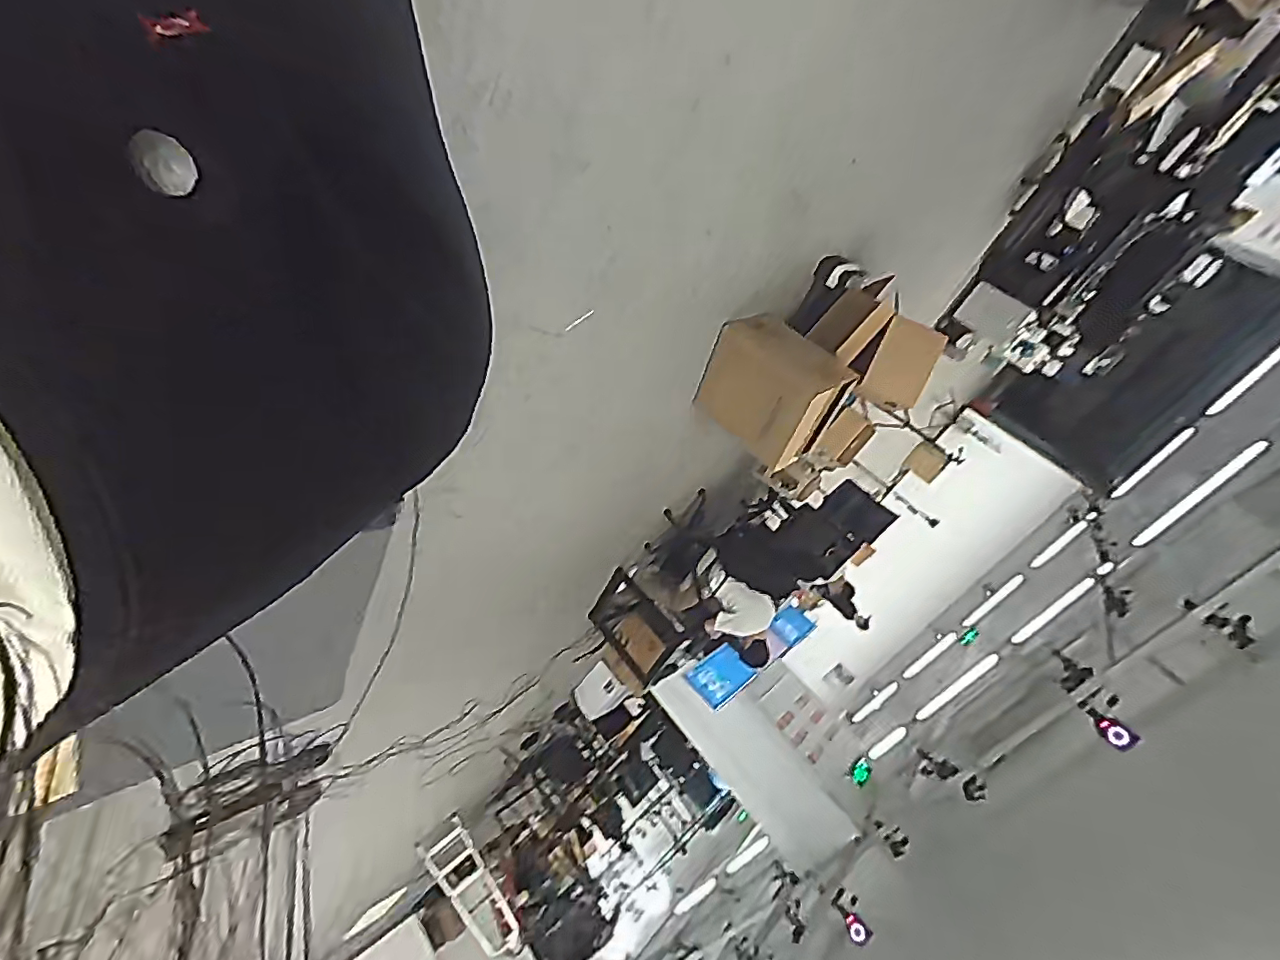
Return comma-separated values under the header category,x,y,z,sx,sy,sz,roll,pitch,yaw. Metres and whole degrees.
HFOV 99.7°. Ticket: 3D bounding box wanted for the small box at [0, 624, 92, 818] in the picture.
category,x,y,z,sx,sy,sz,roll,pitch,yaw
small box,-0.818,0.306,0.665,0.179,0.176,0.168,-4,136,-53
